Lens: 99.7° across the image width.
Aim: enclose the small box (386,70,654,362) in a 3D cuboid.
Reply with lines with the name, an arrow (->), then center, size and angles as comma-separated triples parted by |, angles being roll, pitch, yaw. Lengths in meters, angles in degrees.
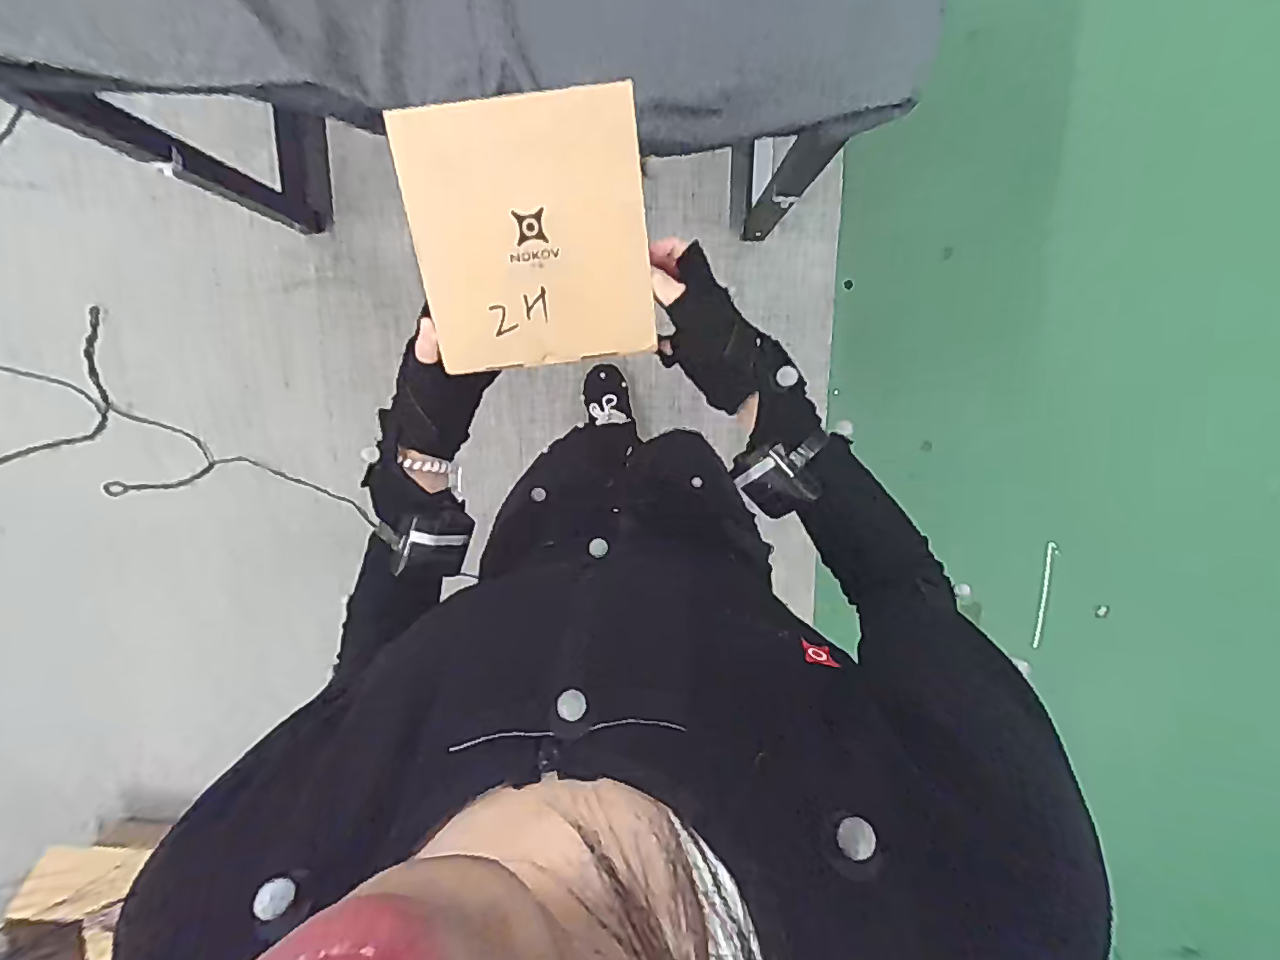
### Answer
small box -> -0.080, -0.205, 0.453 | 0.168, 0.176, 0.179 | -6, 112, 1
